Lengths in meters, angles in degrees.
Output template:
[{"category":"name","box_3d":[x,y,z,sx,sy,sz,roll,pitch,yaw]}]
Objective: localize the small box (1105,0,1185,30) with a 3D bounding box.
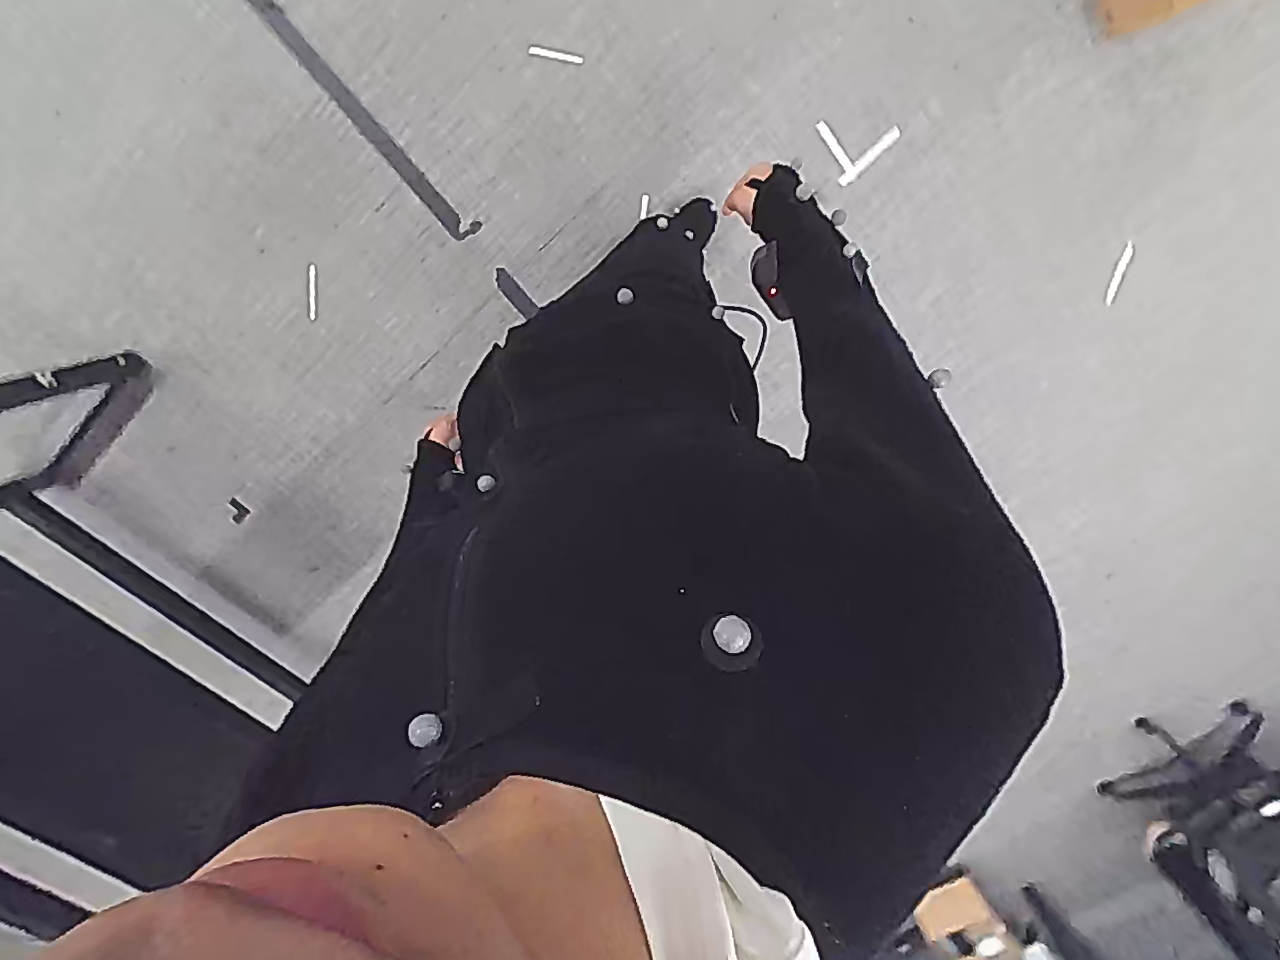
[{"category":"small box","box_3d":[1.119,-1.114,1.141,0.179,0.176,0.168,-42,109,14]}]
